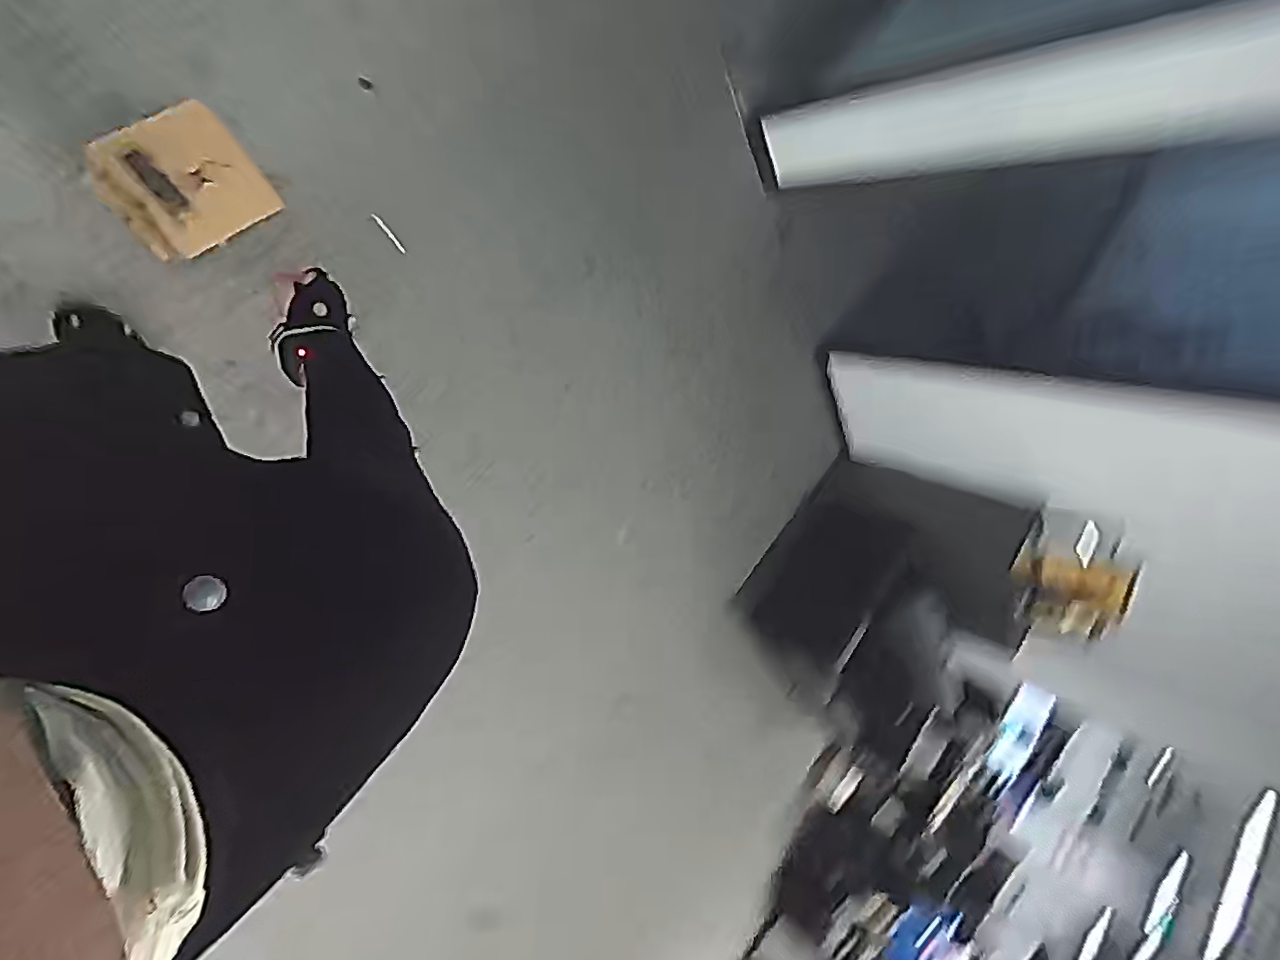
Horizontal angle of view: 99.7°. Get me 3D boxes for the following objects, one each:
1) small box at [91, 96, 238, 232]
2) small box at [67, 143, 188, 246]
[{"bbox_3d":[-0.850,-0.553,0.973,0.168,0.176,0.179,-14,116,-38],"label":"small box"},{"bbox_3d":[-0.964,-0.583,1.074,0.179,0.176,0.168,-46,133,-21],"label":"small box"}]
